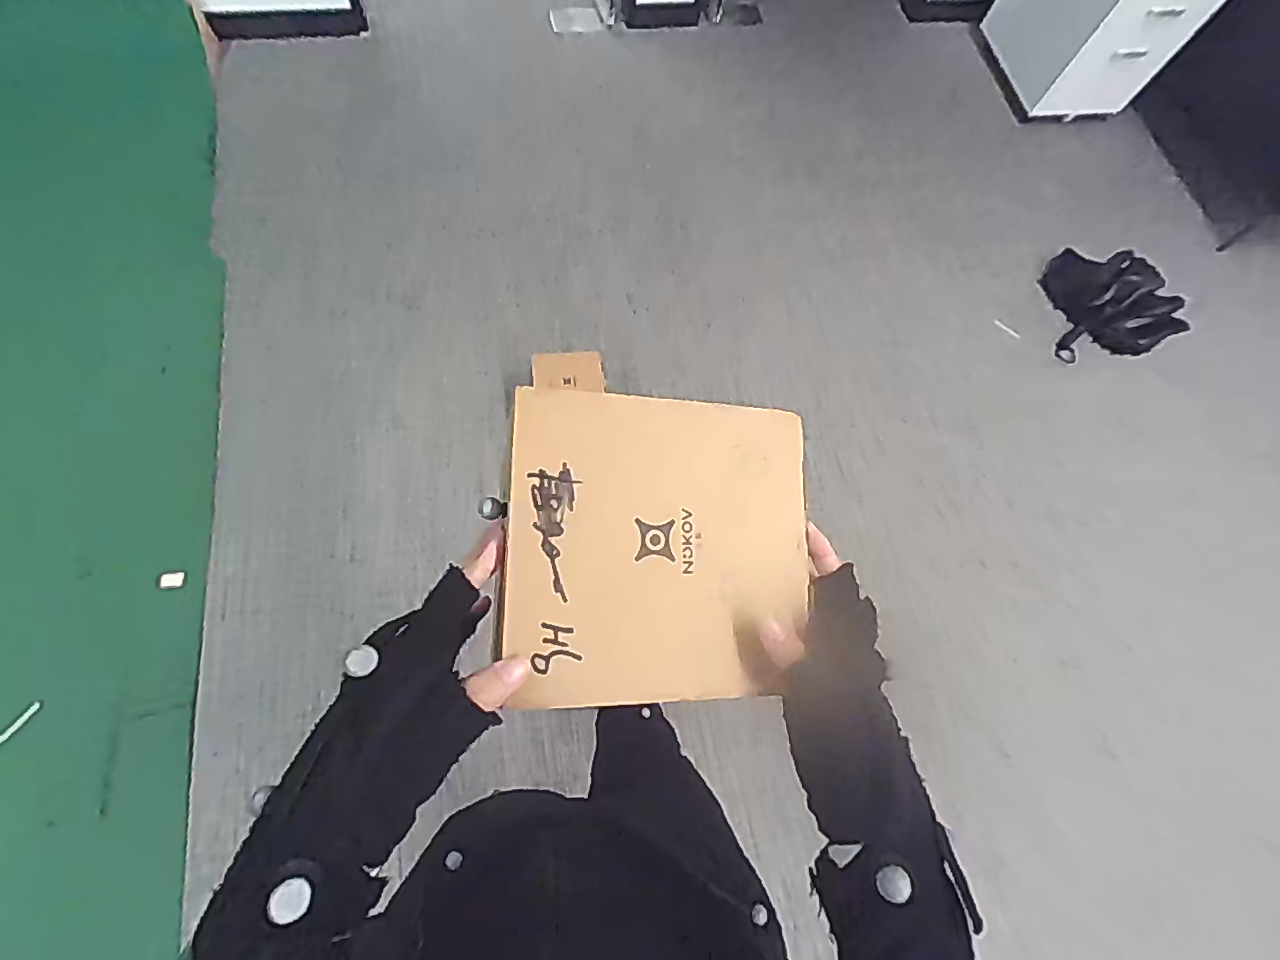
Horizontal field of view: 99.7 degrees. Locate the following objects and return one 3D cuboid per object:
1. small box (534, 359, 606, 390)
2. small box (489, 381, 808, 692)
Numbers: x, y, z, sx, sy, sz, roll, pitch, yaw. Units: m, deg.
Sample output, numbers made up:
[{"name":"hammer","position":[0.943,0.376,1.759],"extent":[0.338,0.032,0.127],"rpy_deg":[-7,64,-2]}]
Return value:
[{"name":"small box","position":[-0.177,-0.197,1.406],"extent":[0.179,0.176,0.168],"rpy_deg":[-6,69,-7]},{"name":"small box","position":[-0.005,0.048,0.380],"extent":[0.179,0.176,0.168],"rpy_deg":[6,77,-17]}]
